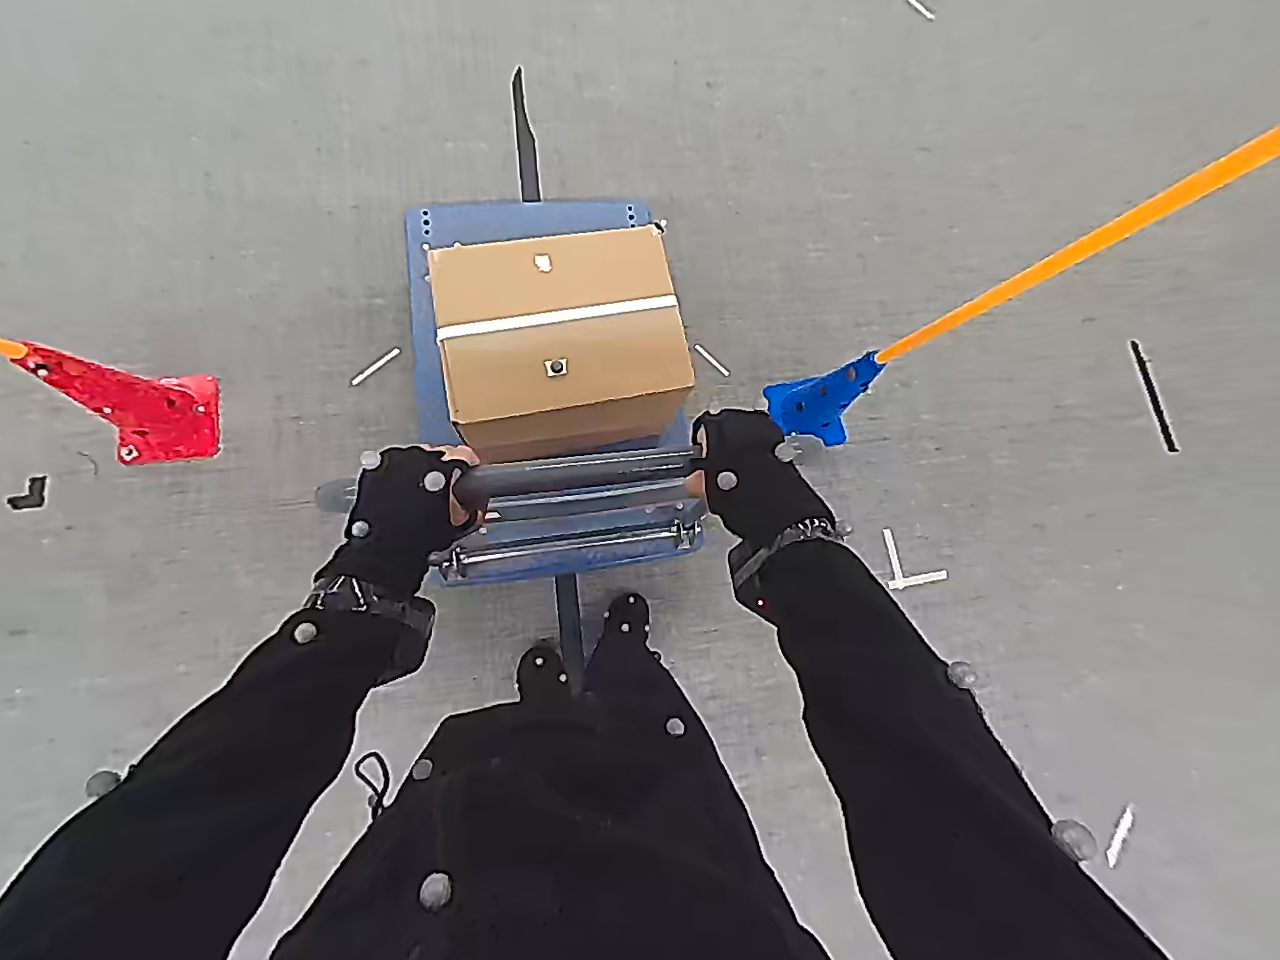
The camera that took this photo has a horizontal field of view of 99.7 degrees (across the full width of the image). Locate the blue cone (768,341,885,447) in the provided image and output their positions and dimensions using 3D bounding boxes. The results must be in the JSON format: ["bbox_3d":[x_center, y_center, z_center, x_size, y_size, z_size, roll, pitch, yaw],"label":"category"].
[{"bbox_3d":[0.477,-0.224,1.313,0.193,0.380,0.192,-10,78,-11],"label":"blue cone"}]
